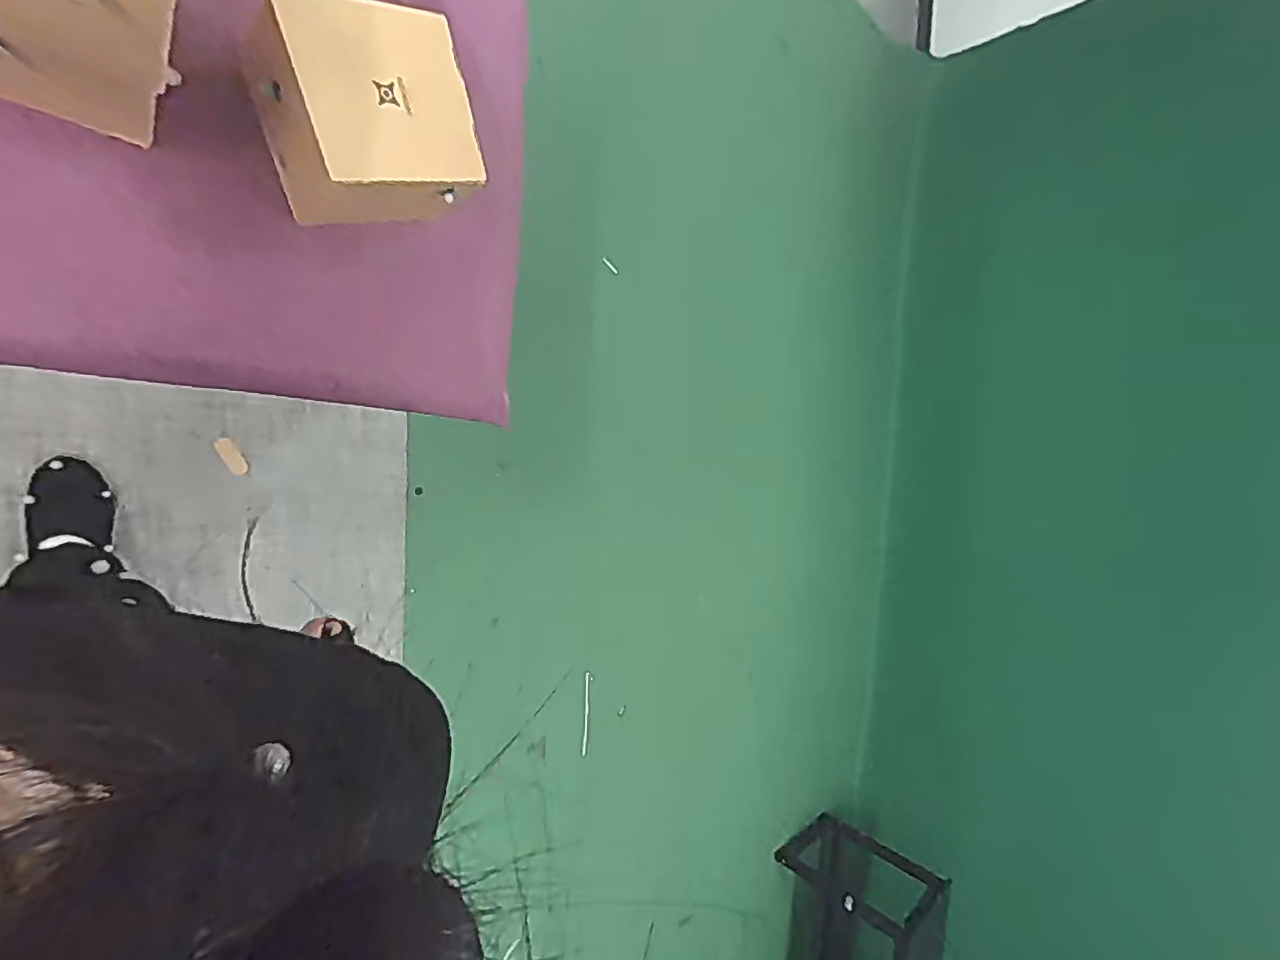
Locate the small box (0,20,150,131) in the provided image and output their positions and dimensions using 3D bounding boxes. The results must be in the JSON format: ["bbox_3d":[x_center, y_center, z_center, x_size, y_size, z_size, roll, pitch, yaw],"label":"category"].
[{"bbox_3d":[-0.496,-0.413,0.419,0.179,0.176,0.168,5,93,-45],"label":"small box"}]

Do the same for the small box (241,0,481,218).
[{"bbox_3d":[-0.312,-0.400,0.601,0.179,0.176,0.168,-27,113,-39],"label":"small box"}]

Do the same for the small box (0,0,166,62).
[{"bbox_3d":[-0.378,-0.388,0.307,0.179,0.176,0.168,6,92,-44],"label":"small box"}]
